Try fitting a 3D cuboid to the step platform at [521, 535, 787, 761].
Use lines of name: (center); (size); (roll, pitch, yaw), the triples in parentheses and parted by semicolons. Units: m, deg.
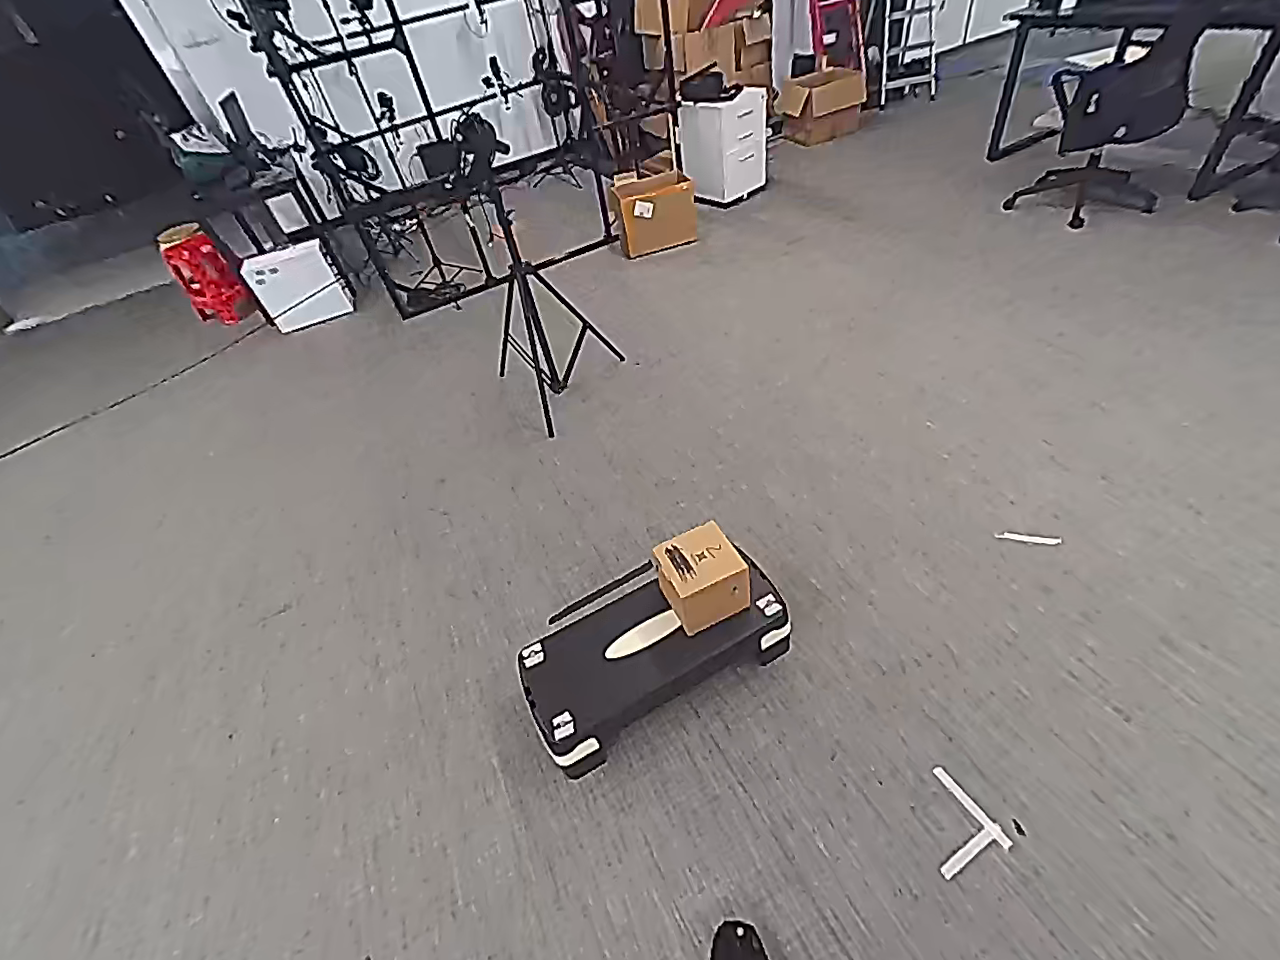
step platform: (0.041, 0.417, 1.415); (0.684, 0.204, 0.286); (-27, 45, -13)
